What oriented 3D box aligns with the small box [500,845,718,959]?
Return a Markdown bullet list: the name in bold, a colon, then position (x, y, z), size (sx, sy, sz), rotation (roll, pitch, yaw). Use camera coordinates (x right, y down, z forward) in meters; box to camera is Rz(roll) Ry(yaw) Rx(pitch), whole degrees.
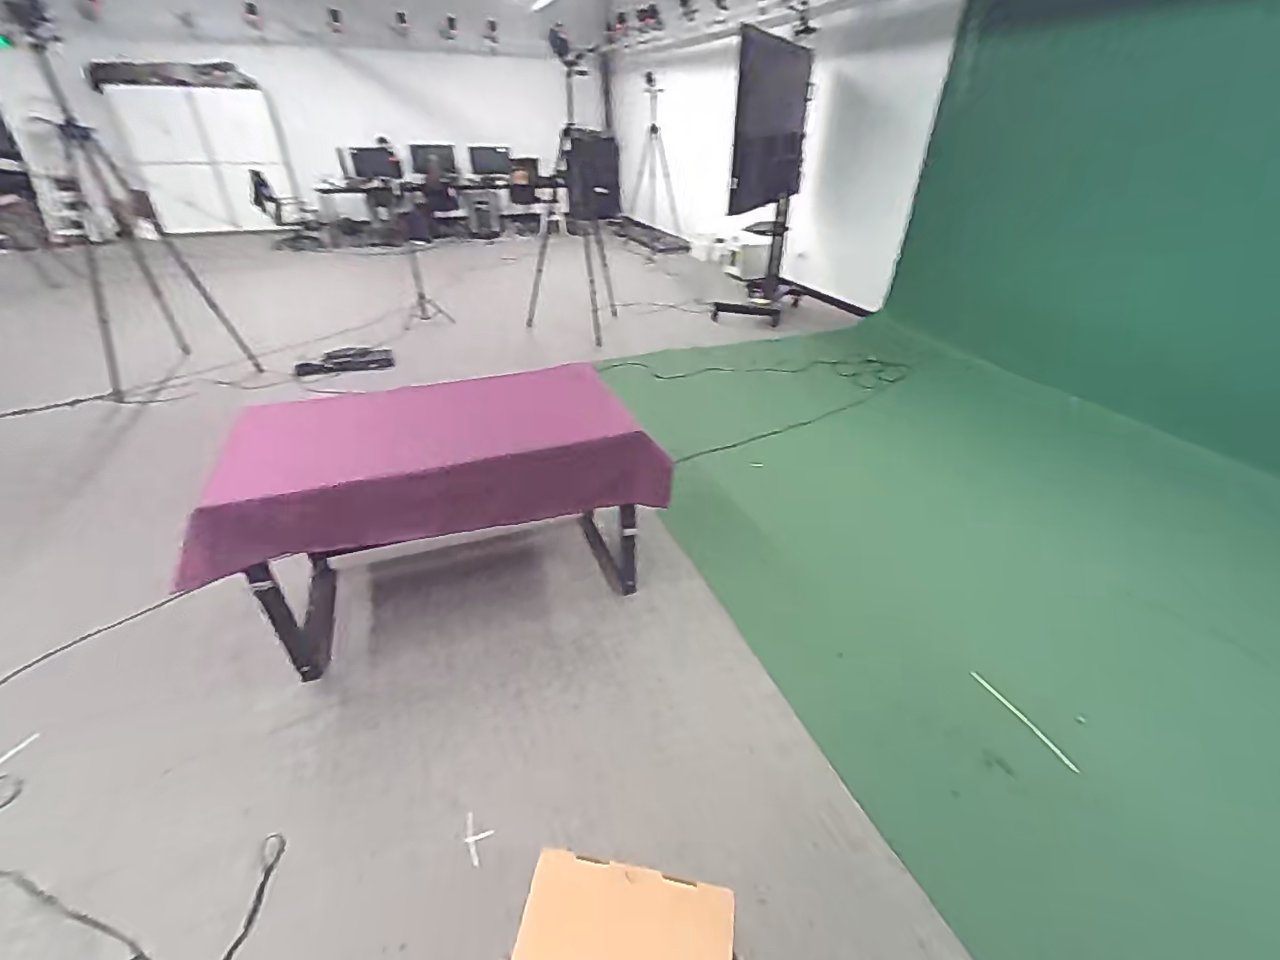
- **small box**: position (-0.029, 0.445, 0.457), size (0.168, 0.176, 0.179), rotation (7, 45, 8)
